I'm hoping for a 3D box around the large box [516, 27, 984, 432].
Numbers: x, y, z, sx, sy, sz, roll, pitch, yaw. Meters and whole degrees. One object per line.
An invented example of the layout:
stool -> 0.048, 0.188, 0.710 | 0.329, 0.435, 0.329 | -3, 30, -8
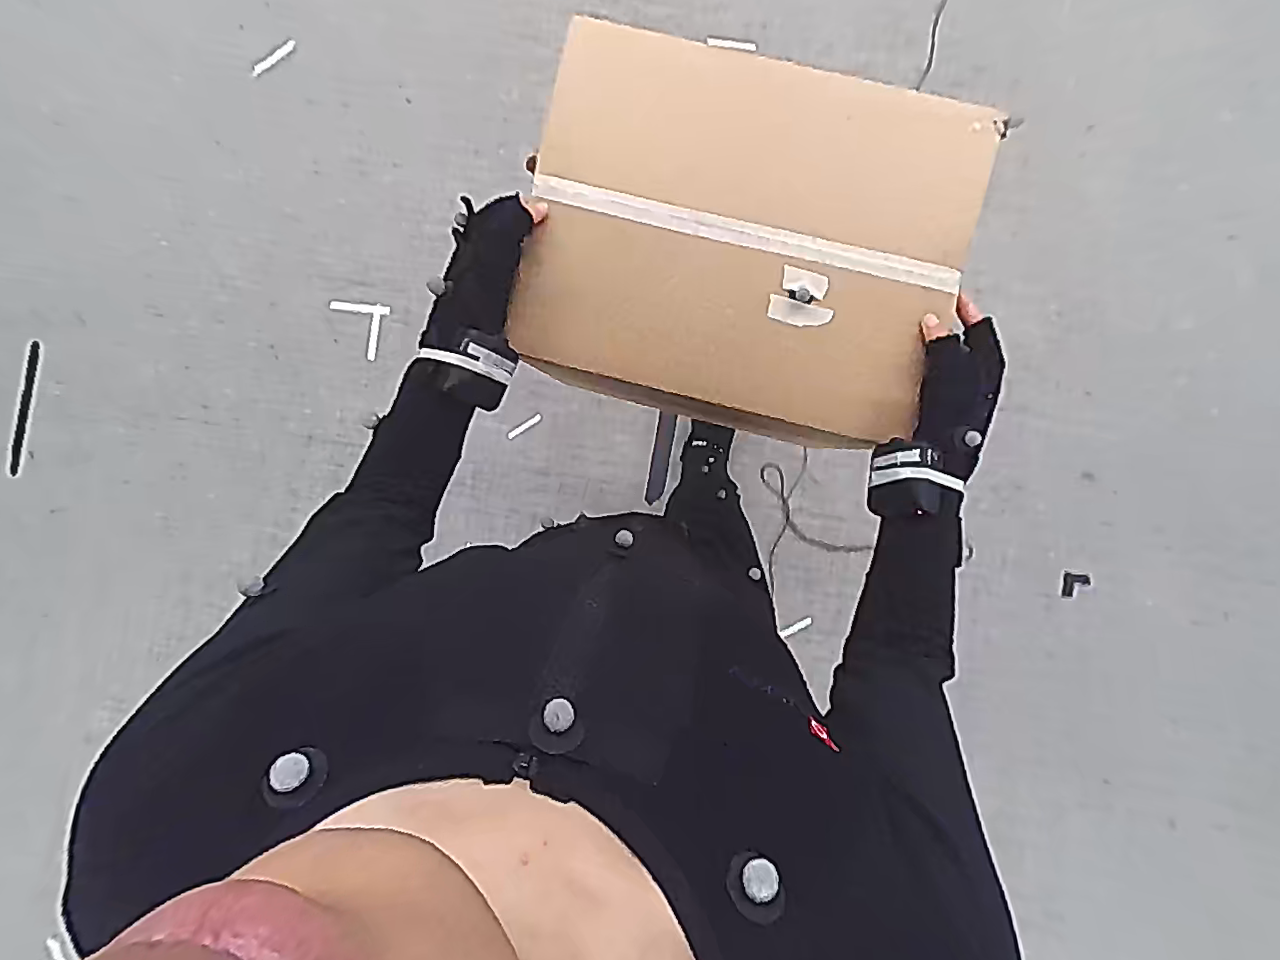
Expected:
large box -> 0.104, -0.255, 0.672 | 0.408, 0.320, 0.320 | 14, 95, 2
